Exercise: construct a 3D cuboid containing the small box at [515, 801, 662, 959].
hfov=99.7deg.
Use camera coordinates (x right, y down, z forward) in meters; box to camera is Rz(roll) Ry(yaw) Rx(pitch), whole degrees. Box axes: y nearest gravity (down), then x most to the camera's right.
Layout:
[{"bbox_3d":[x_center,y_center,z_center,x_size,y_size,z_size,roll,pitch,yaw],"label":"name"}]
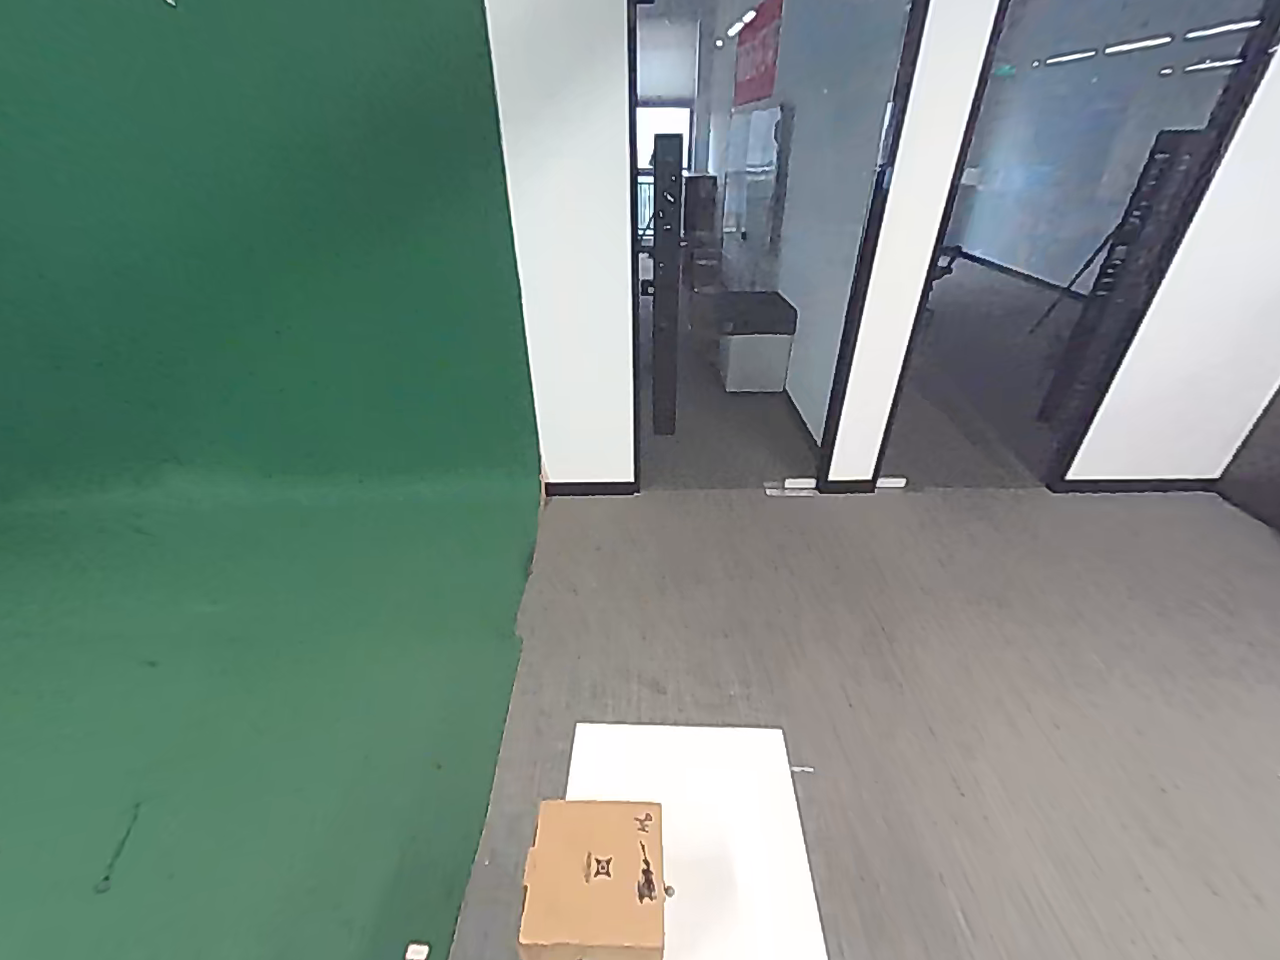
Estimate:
[{"bbox_3d":[-0.059,0.569,0.741,0.179,0.176,0.168,1,33,0],"label":"small box"}]
